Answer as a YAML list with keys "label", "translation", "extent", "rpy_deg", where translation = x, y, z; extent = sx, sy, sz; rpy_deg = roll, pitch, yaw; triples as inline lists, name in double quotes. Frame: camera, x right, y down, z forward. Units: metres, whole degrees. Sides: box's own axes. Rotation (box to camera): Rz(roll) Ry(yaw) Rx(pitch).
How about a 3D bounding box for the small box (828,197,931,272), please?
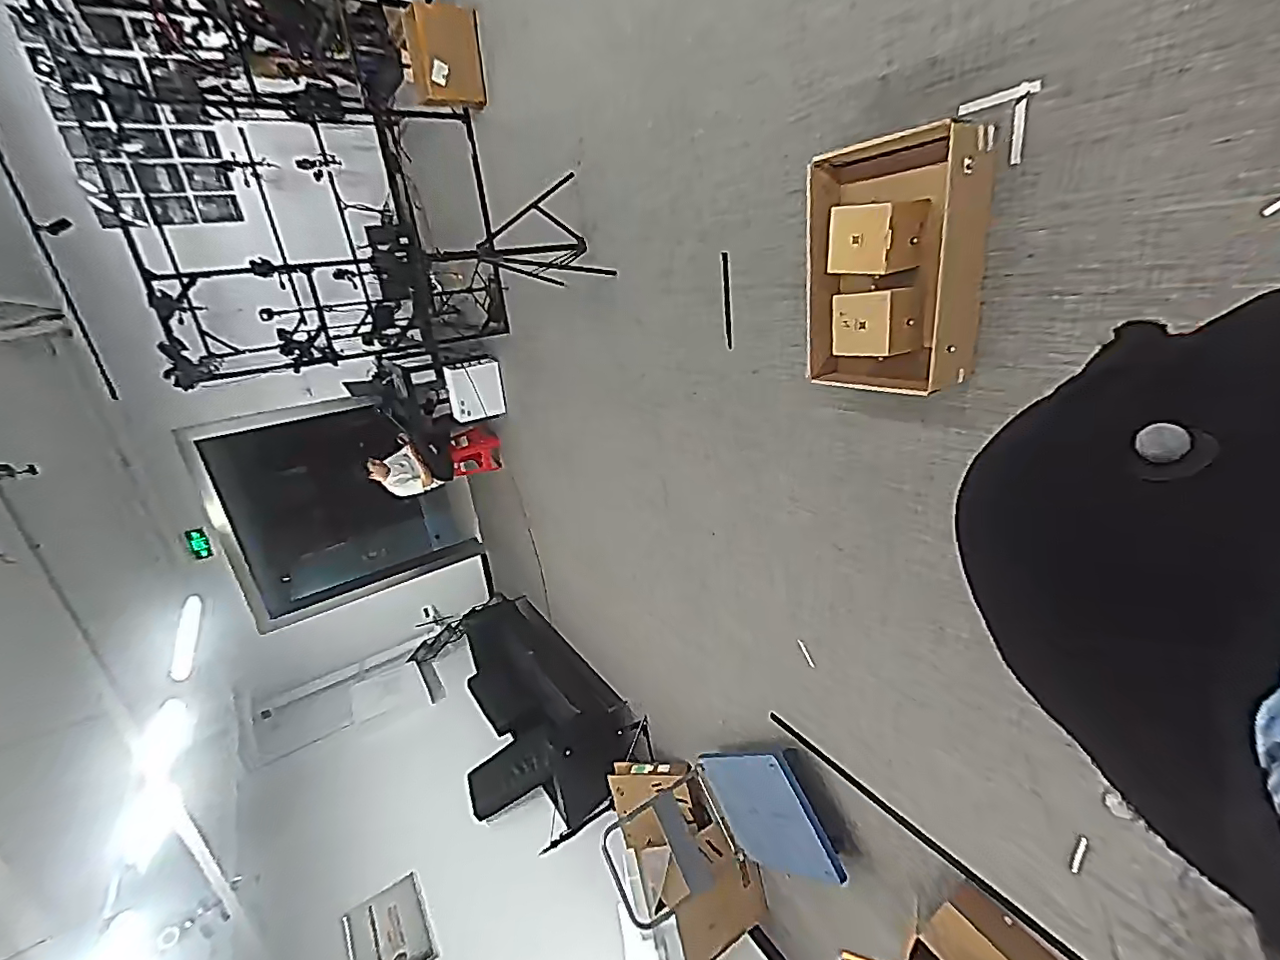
- label: "small box"
  translation: [0.628, -0.648, 1.427]
  extent: [0.179, 0.176, 0.168]
  rpy_deg: [30, 132, 49]

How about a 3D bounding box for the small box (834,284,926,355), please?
- label: "small box"
  translation: [0.660, -0.442, 1.488]
  extent: [0.179, 0.176, 0.168]
  rpy_deg: [21, 122, 54]
